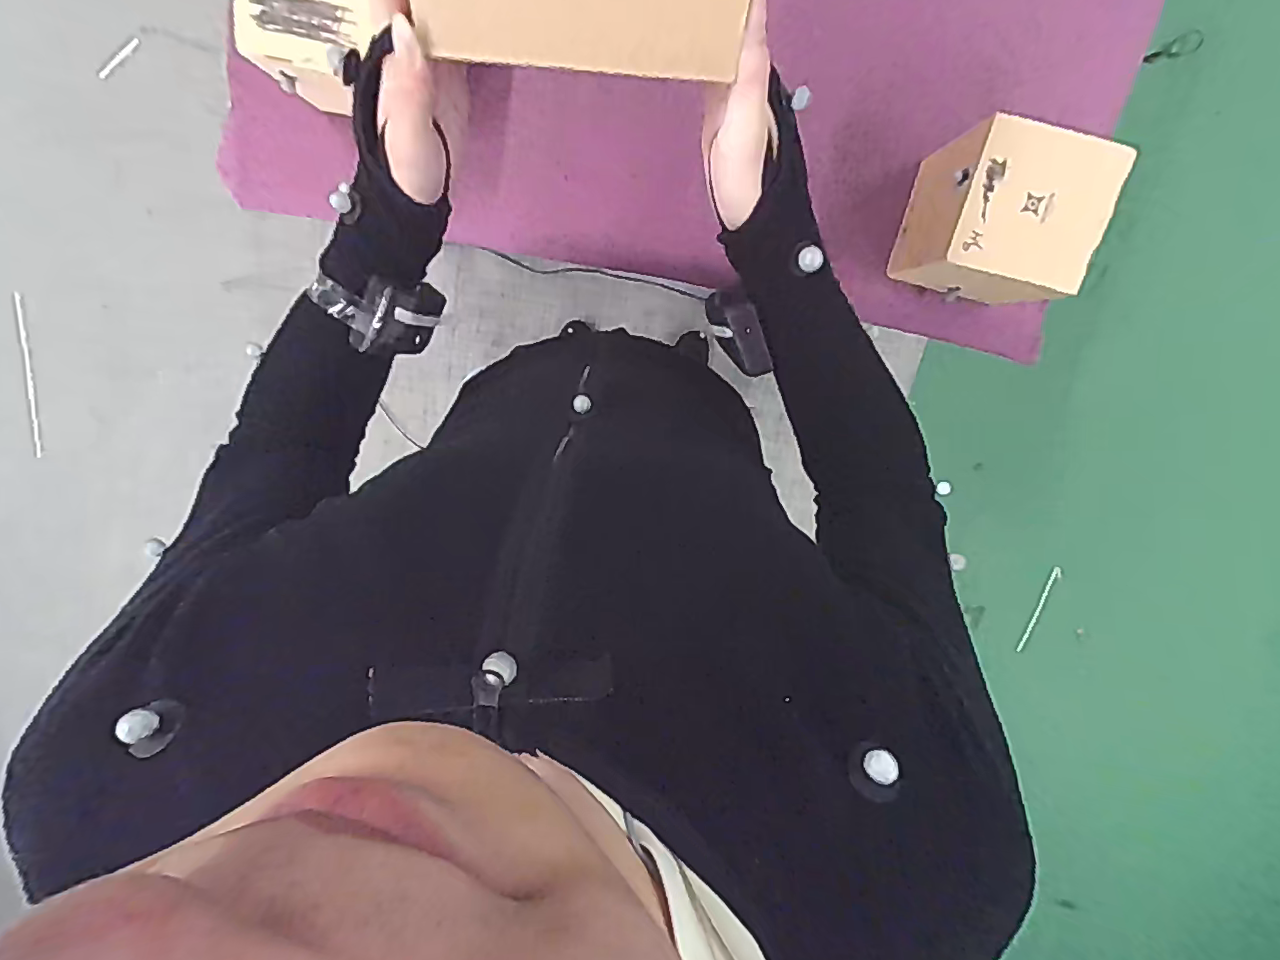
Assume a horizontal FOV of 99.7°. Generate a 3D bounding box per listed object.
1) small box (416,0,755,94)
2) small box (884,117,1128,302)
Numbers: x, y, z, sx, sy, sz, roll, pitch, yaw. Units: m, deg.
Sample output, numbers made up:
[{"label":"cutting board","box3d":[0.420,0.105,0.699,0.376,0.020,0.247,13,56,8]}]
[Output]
[{"label":"small box","box3d":[-0.023,-0.327,0.273,0.168,0.176,0.179,2,139,-4]},{"label":"small box","box3d":[0.466,-0.341,0.719,0.179,0.176,0.168,13,104,-4]}]
